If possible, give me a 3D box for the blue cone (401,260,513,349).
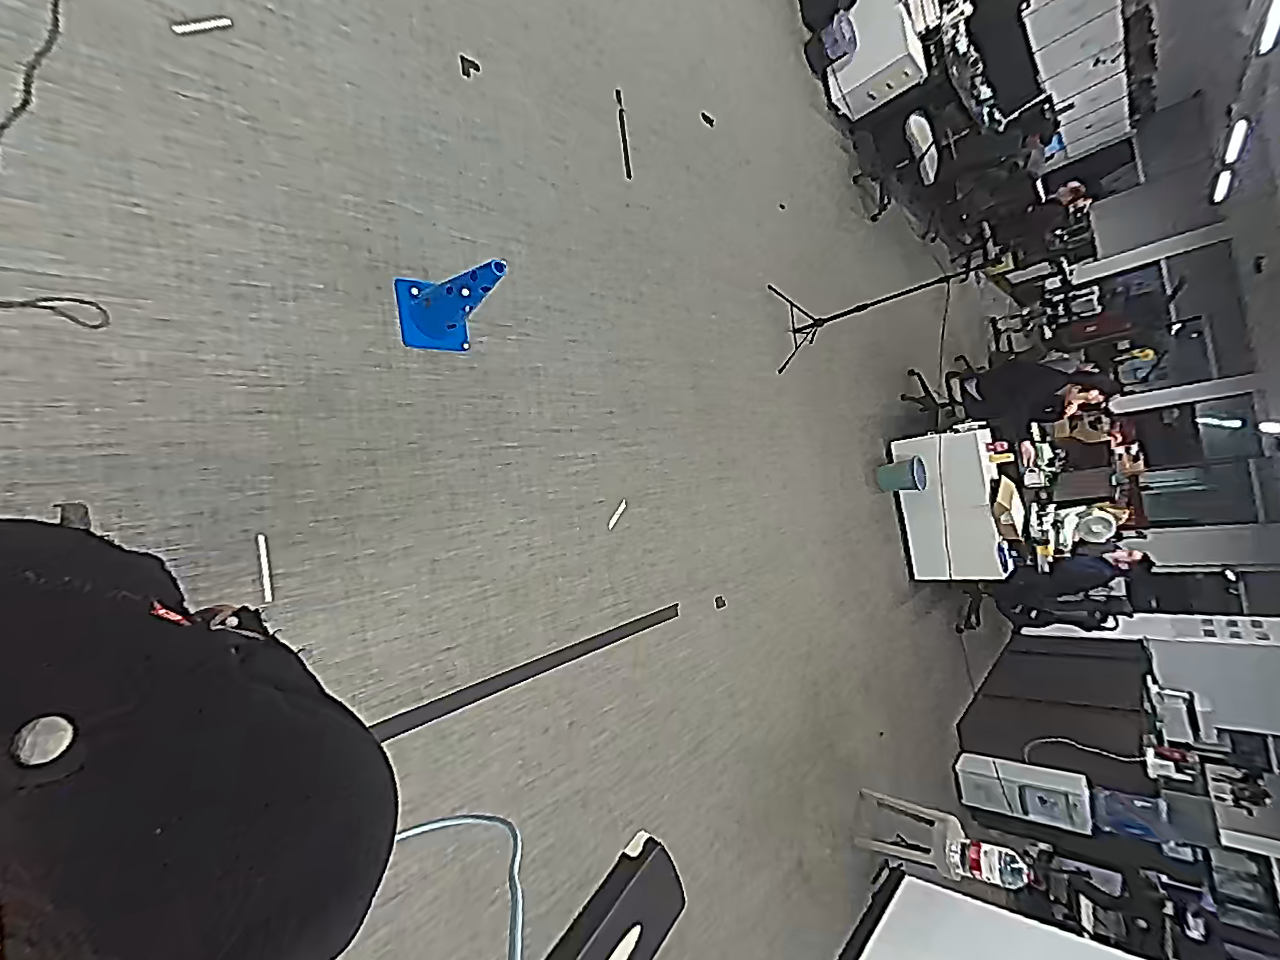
[{"bbox_3d":[-0.466,-0.494,1.435,0.192,0.380,0.193,-5,86,-48],"label":"blue cone"}]
